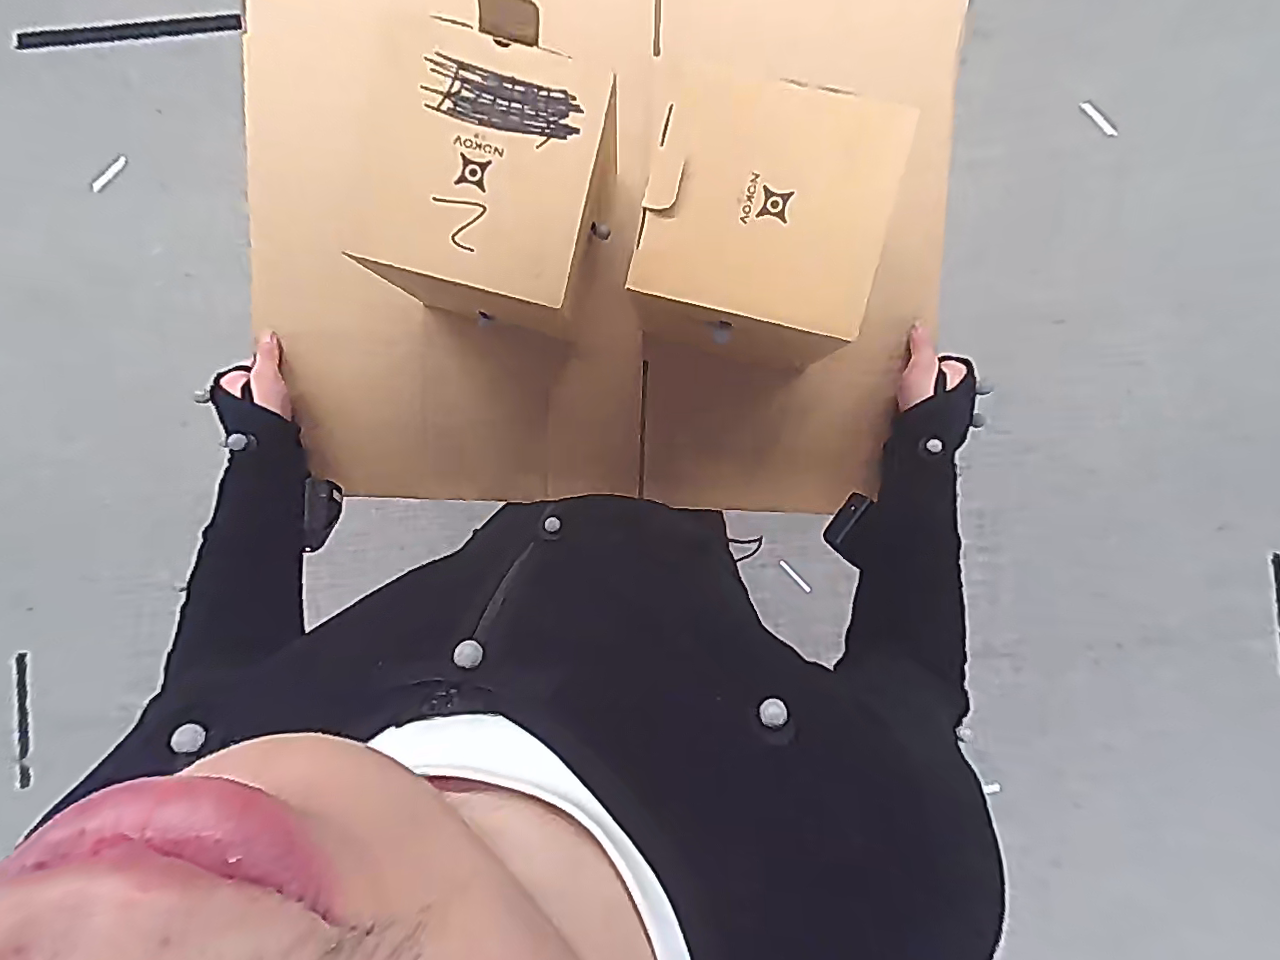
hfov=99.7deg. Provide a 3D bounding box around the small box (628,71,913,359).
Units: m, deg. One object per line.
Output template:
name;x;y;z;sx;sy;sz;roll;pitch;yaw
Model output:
small box;0.102;-0.211;0.482;0.179;0.176;0.168;15;97;5
